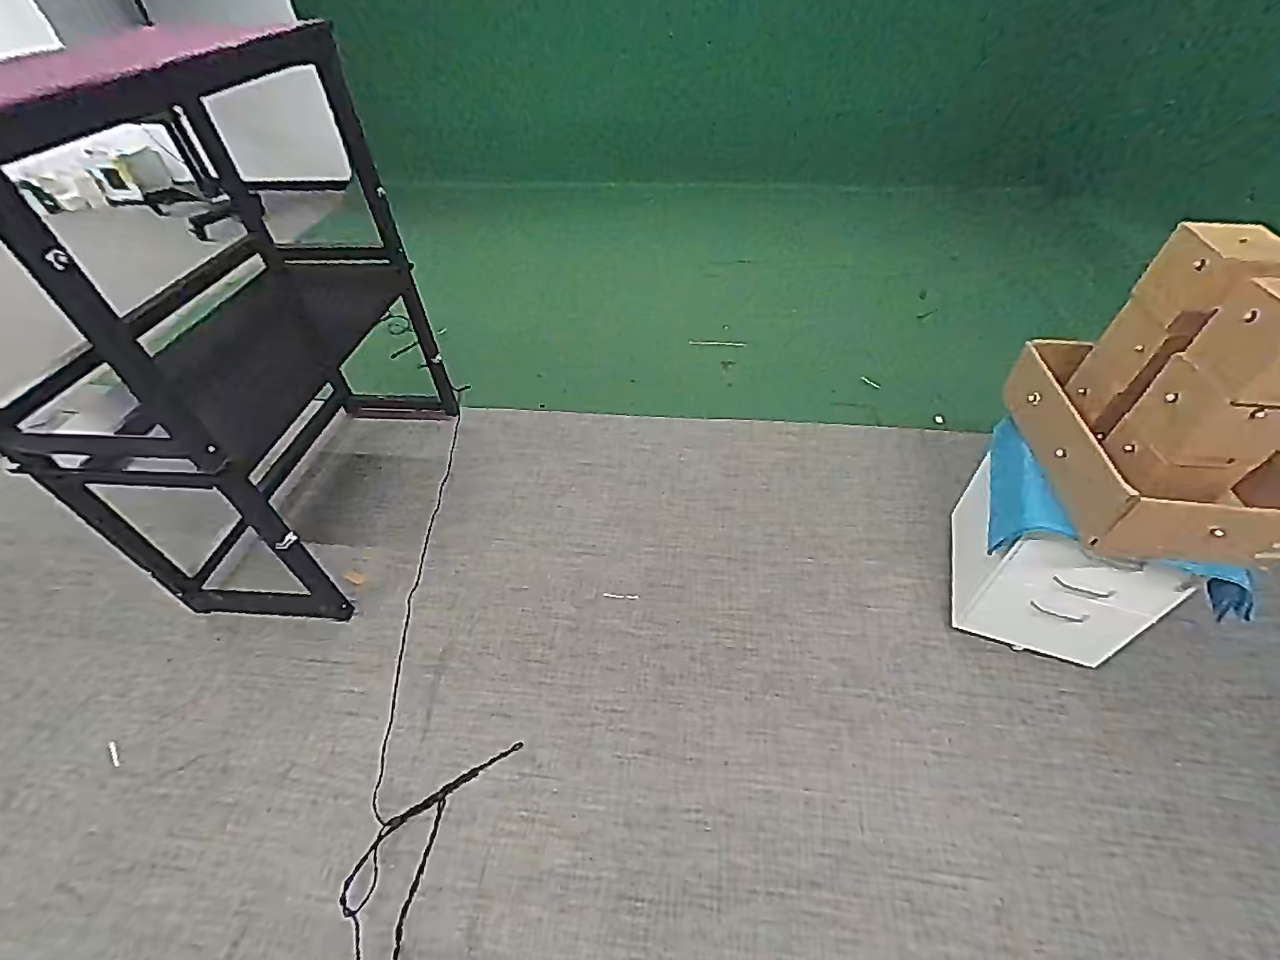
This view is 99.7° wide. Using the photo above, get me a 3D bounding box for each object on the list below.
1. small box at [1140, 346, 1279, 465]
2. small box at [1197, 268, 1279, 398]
[{"bbox_3d":[1.196,-0.154,1.108,0.168,0.176,0.179,4,45,7],"label":"small box"},{"bbox_3d":[1.196,-0.265,0.985,0.168,0.176,0.179,5,46,8],"label":"small box"}]
